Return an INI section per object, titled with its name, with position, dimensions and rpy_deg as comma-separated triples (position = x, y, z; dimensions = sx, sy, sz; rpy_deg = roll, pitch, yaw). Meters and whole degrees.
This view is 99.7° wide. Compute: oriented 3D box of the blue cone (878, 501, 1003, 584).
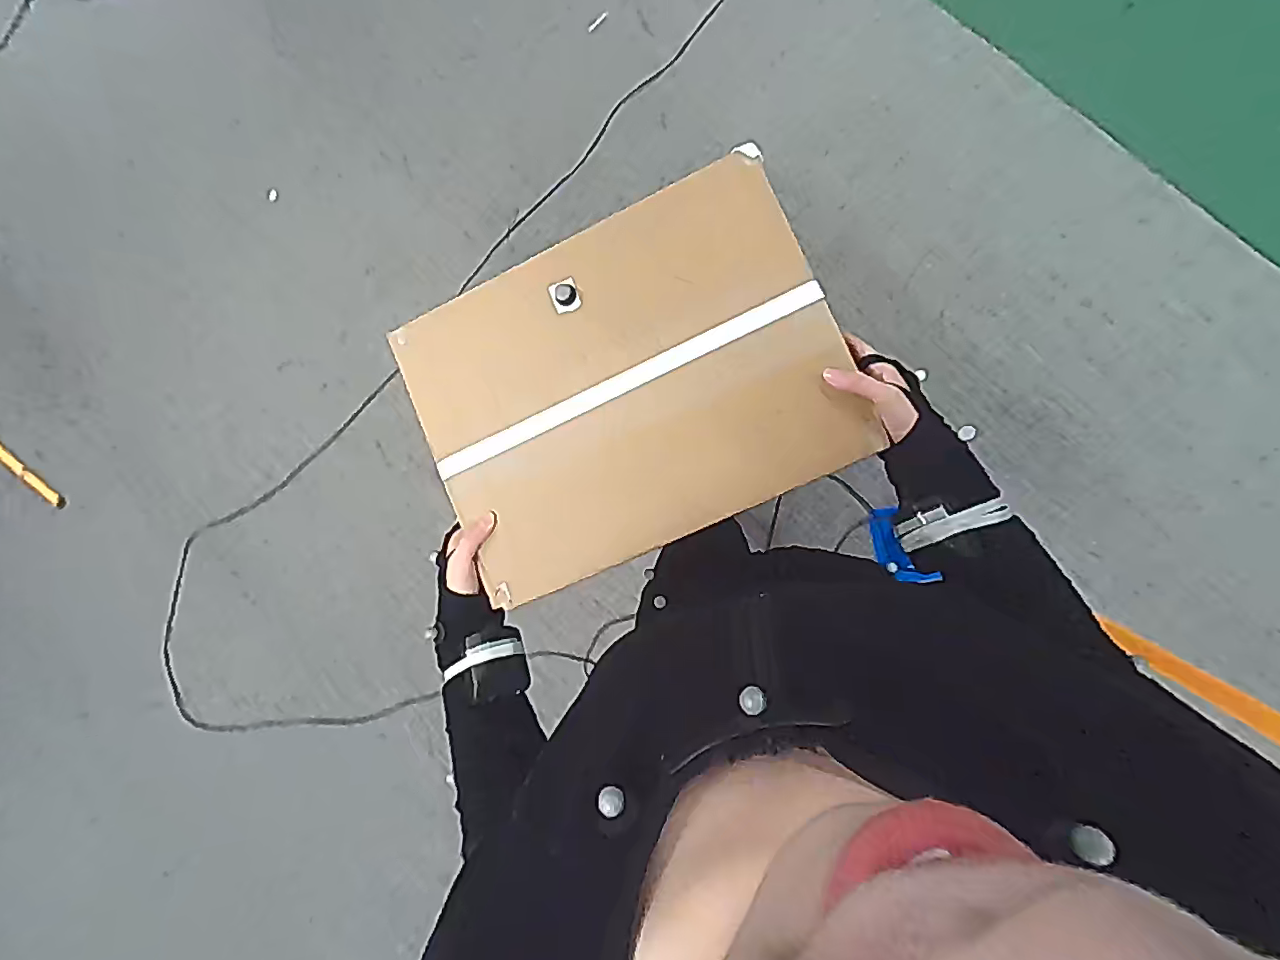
[blue cone]
position = 0.697, 0.151, 1.217
dimensions = 0.193, 0.380, 0.192
rpy_deg = -13, 86, 6
